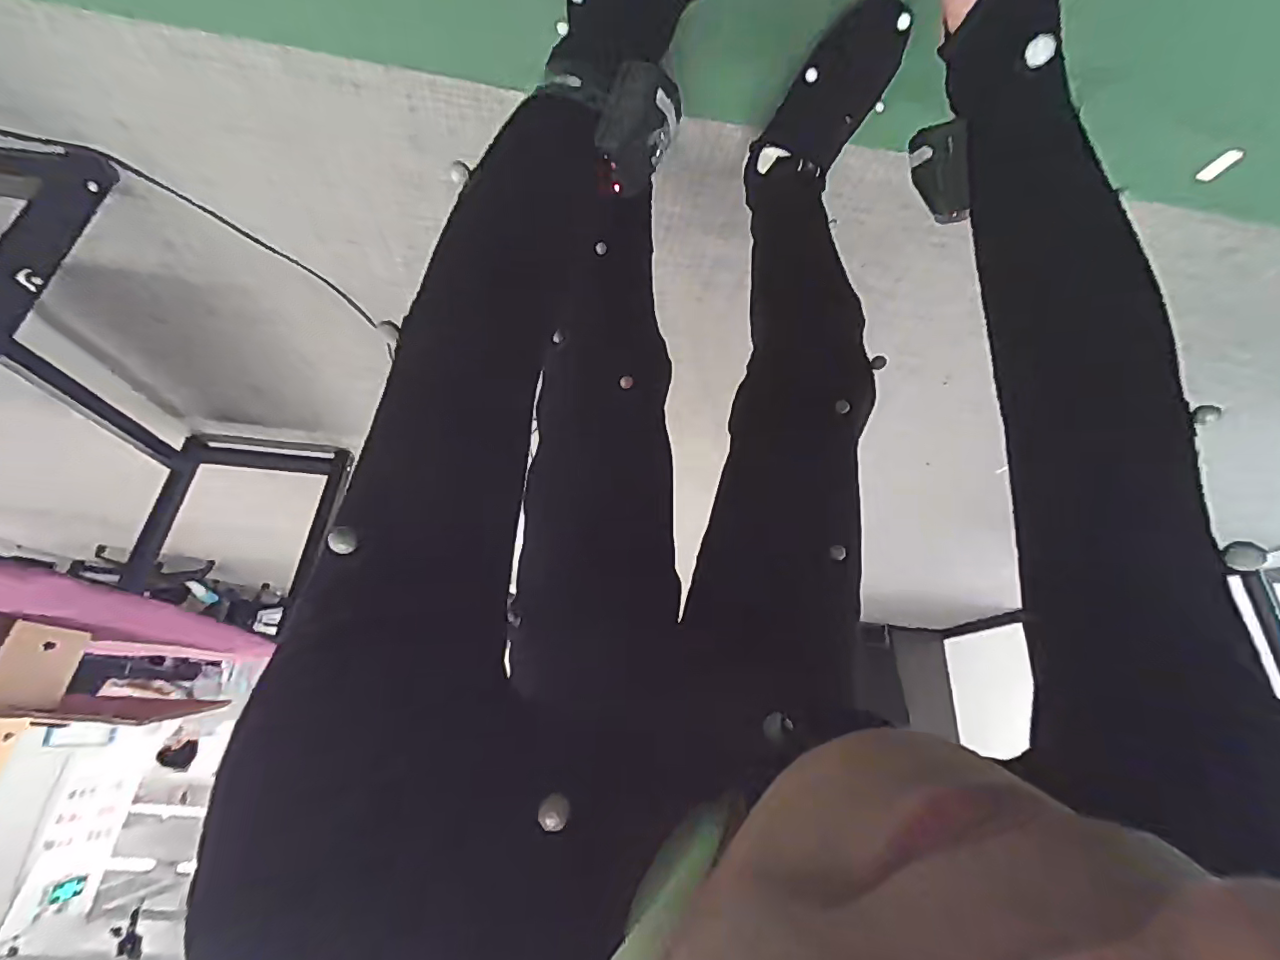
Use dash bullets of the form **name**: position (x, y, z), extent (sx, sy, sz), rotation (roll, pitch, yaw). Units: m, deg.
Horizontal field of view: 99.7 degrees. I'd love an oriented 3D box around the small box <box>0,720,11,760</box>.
- **small box**: position (-1.327, 0.515, 0.980), extent (0.179, 0.176, 0.168), rotation (5, 151, -1)
